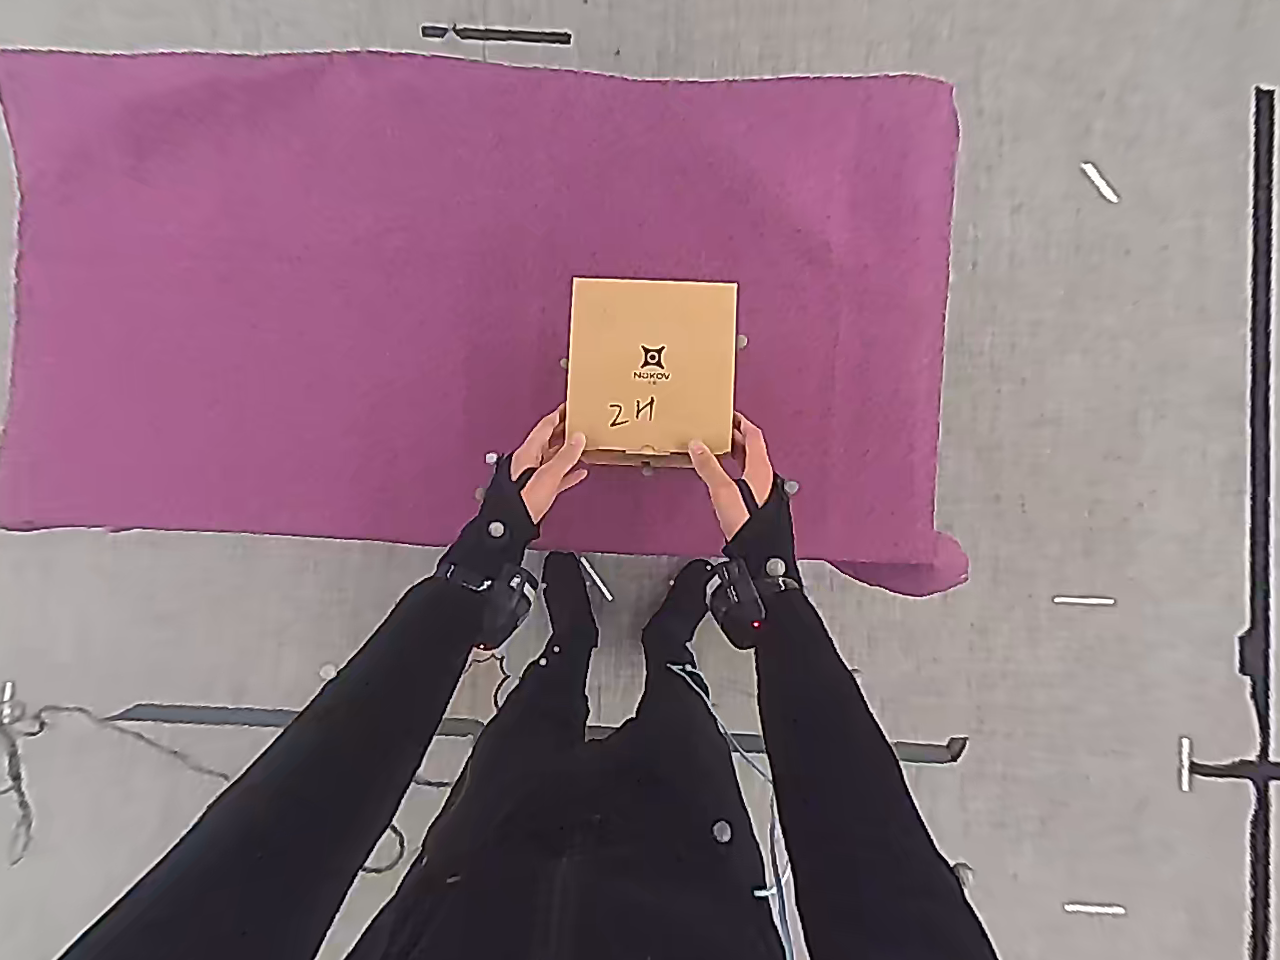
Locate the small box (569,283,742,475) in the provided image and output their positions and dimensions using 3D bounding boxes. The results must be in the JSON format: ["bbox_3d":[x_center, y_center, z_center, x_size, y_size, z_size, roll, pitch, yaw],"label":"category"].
[{"bbox_3d":[0.017,-0.103,0.618,0.168,0.176,0.179,3,87,2],"label":"small box"}]
